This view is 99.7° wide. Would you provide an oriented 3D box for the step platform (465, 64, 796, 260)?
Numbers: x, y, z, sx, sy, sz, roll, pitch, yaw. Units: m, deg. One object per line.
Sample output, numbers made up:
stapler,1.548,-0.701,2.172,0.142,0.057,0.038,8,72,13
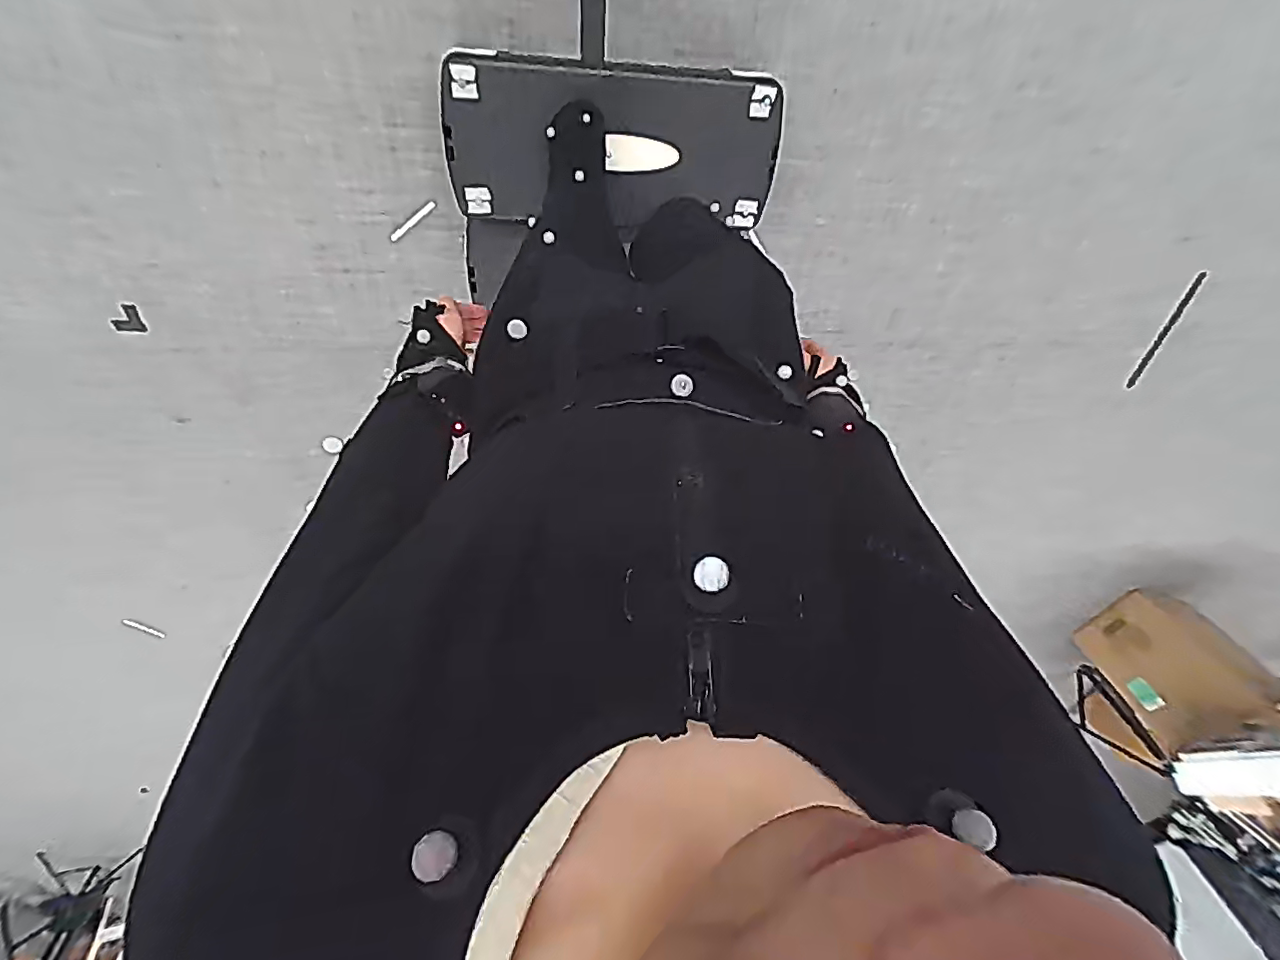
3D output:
step platform,-0.021,-0.671,1.169,0.684,0.204,0.286,1,126,-11
